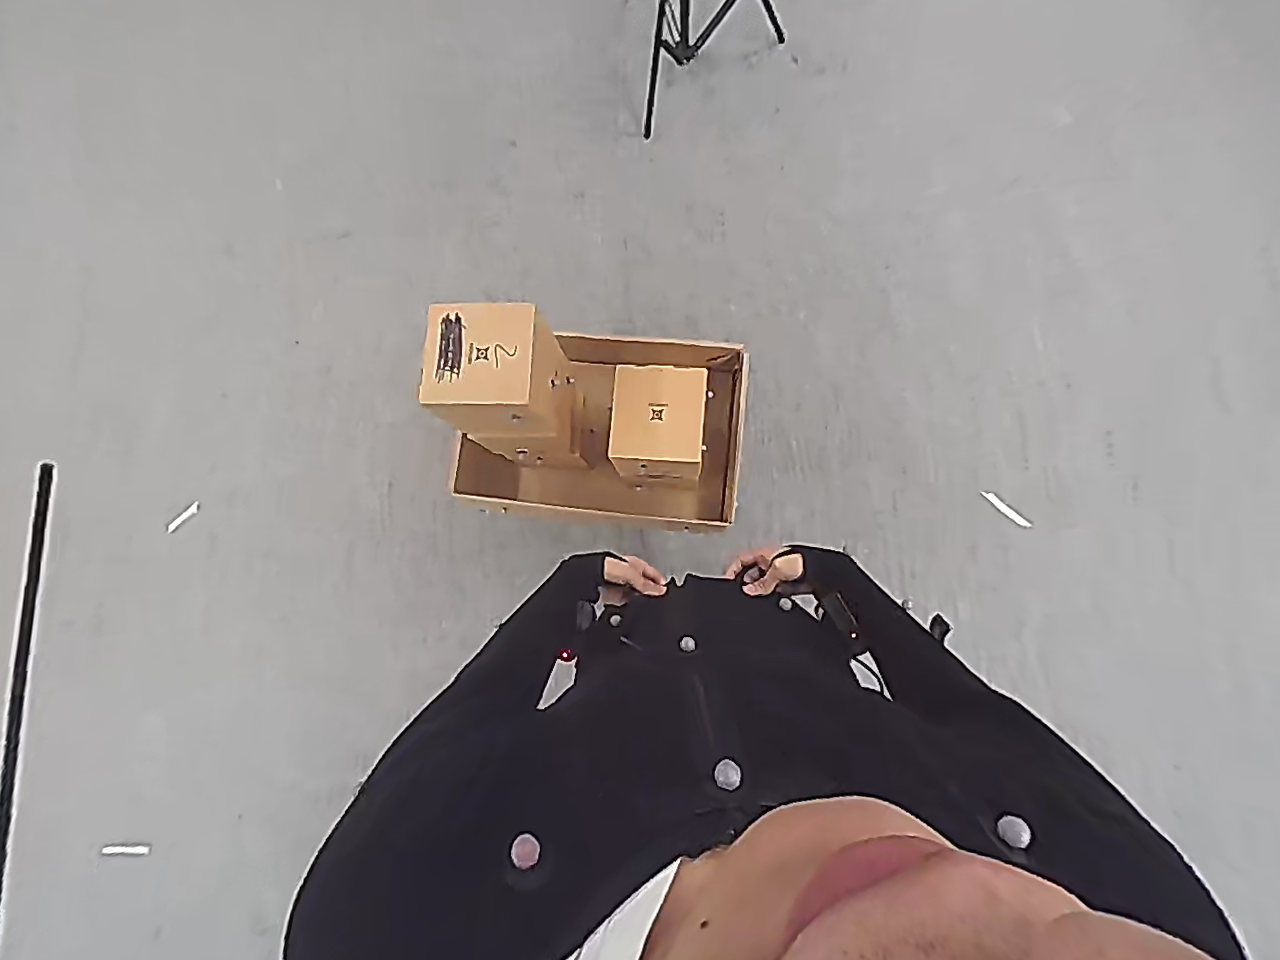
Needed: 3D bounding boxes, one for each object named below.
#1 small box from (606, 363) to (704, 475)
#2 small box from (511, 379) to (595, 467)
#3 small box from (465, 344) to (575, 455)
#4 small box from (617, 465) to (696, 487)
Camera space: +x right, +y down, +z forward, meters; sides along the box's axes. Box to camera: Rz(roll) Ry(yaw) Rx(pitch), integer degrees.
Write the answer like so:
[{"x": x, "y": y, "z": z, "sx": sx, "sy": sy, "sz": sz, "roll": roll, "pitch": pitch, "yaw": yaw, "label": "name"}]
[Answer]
[{"x": 0.034, "y": -0.109, "z": 1.039, "sx": 0.168, "sy": 0.176, "sz": 0.179, "roll": 4, "pitch": 80, "yaw": 5, "label": "small box"}, {"x": -0.205, "y": -0.125, "z": 1.225, "sx": 0.179, "sy": 0.176, "sz": 0.168, "roll": 3, "pitch": 82, "yaw": 4, "label": "small box"}, {"x": -0.227, "y": -0.153, "z": 1.064, "sx": 0.168, "sy": 0.176, "sz": 0.179, "roll": 0, "pitch": 81, "yaw": 6, "label": "small box"}, {"x": 0.046, "y": -0.082, "z": 1.199, "sx": 0.168, "sy": 0.176, "sz": 0.179, "roll": 3, "pitch": 81, "yaw": 5, "label": "small box"}]
